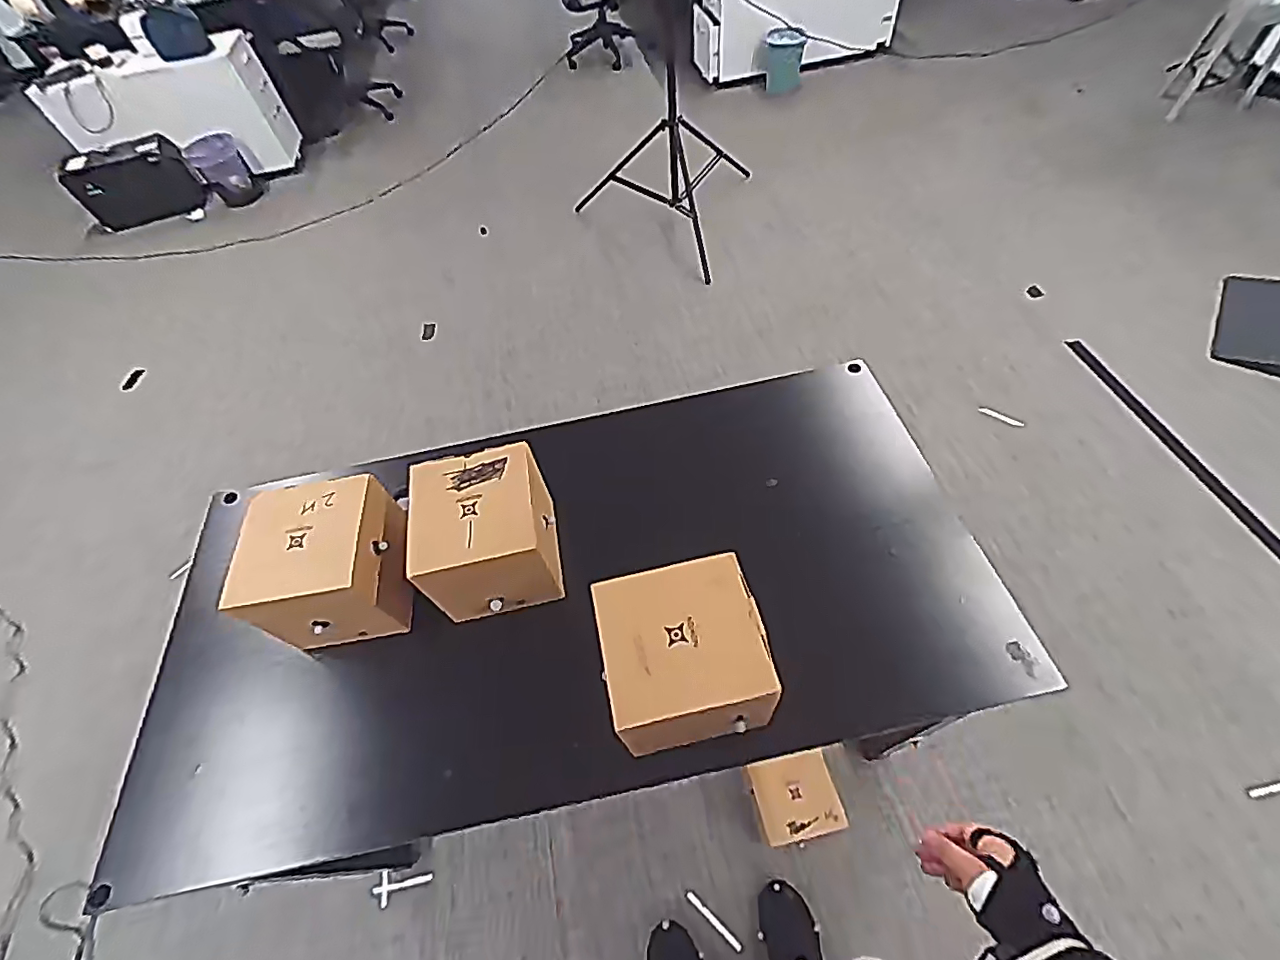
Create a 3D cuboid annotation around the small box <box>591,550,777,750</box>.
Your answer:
[{"bbox_3d":[0.049,0.211,0.657,0.179,0.176,0.168,-14,54,-1],"label":"small box"}]

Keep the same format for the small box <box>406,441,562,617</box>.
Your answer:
[{"bbox_3d":[-0.216,0.075,0.780,0.168,0.176,0.179,-13,56,-2],"label":"small box"}]

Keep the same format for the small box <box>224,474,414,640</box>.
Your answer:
[{"bbox_3d":[-0.437,0.119,0.776,0.168,0.176,0.179,-9,55,-1],"label":"small box"}]

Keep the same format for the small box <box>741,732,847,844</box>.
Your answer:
[{"bbox_3d":[0.326,0.680,1.189,0.168,0.176,0.179,-14,55,-1],"label":"small box"}]
